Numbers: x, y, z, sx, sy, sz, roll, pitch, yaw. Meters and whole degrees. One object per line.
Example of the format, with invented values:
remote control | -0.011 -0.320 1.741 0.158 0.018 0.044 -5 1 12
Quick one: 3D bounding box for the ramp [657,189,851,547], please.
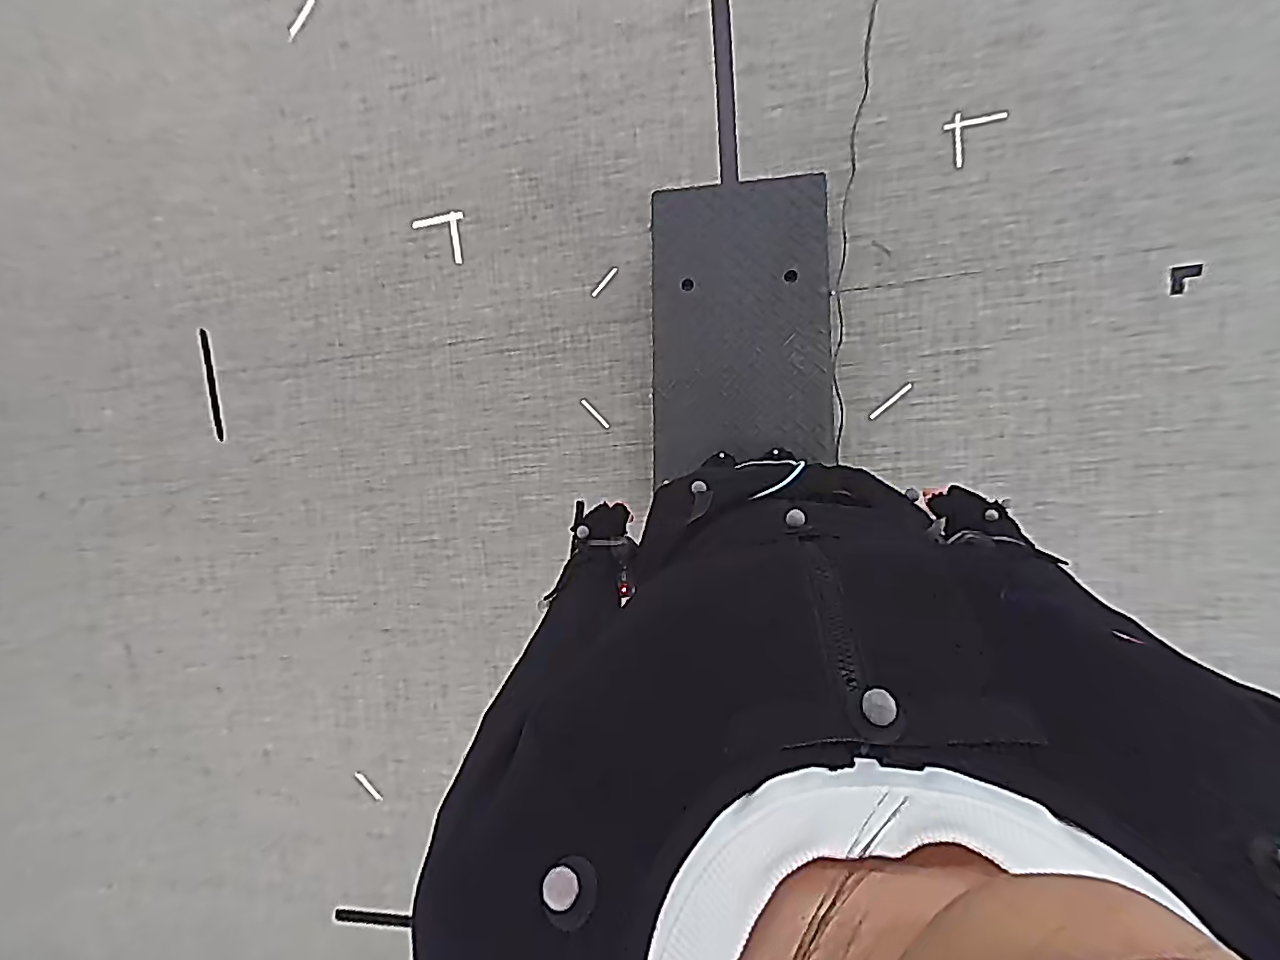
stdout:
ramp | 0.297 -0.317 1.515 0.509 0.206 0.991 -4 93 12
